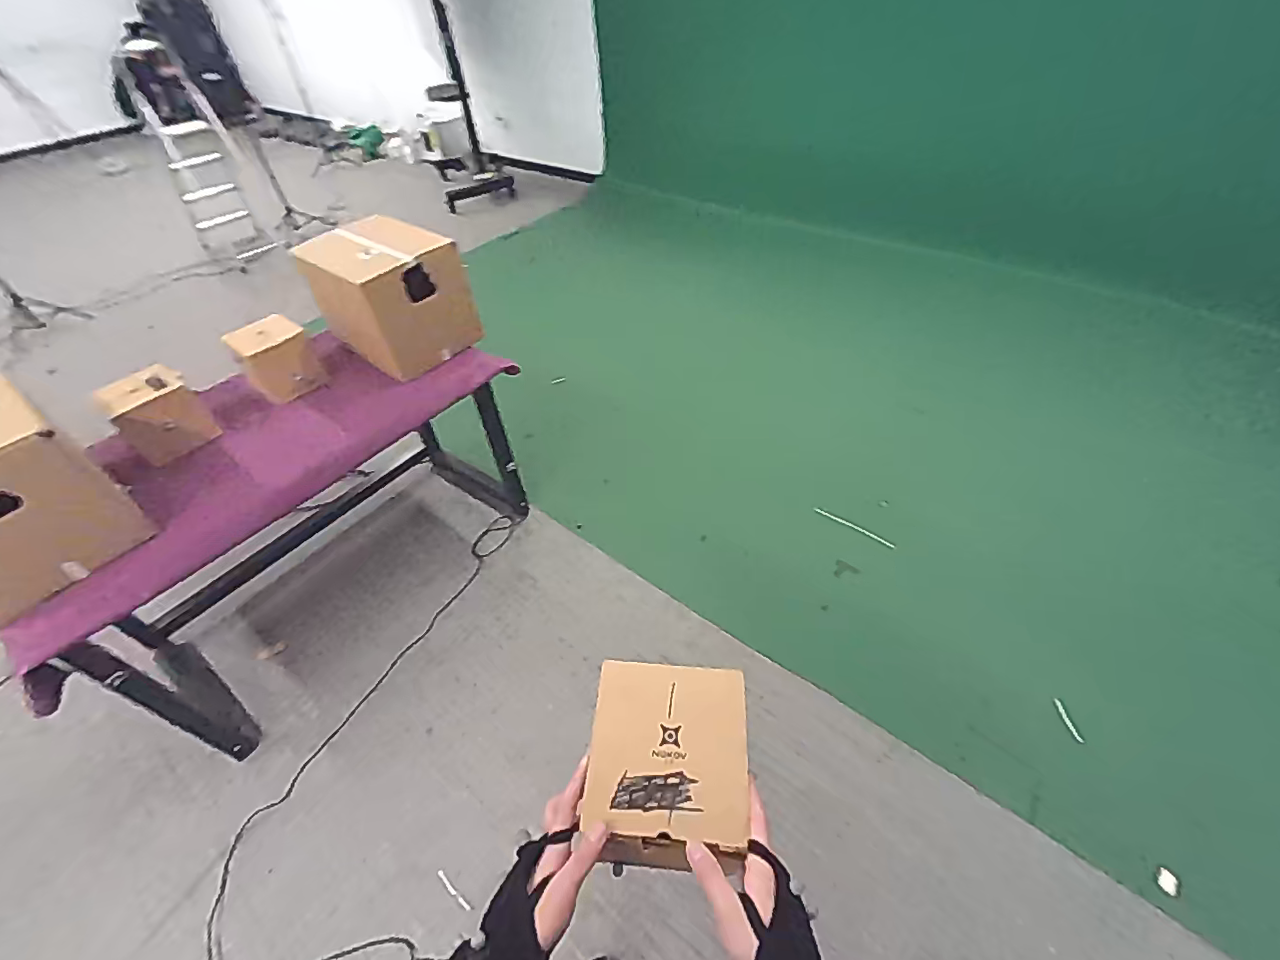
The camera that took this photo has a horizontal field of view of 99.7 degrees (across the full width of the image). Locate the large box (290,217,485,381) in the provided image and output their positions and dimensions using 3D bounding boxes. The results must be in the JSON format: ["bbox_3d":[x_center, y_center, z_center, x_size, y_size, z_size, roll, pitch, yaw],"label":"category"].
[{"bbox_3d":[-0.748,-0.555,1.640,0.408,0.320,0.320,29,56,28],"label":"large box"}]

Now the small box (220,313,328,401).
[{"bbox_3d":[-1.050,-0.352,1.560,0.179,0.176,0.168,29,55,27],"label":"small box"}]

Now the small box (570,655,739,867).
[{"bbox_3d":[0.022,0.326,0.623,0.168,0.176,0.179,3,46,3],"label":"small box"}]
